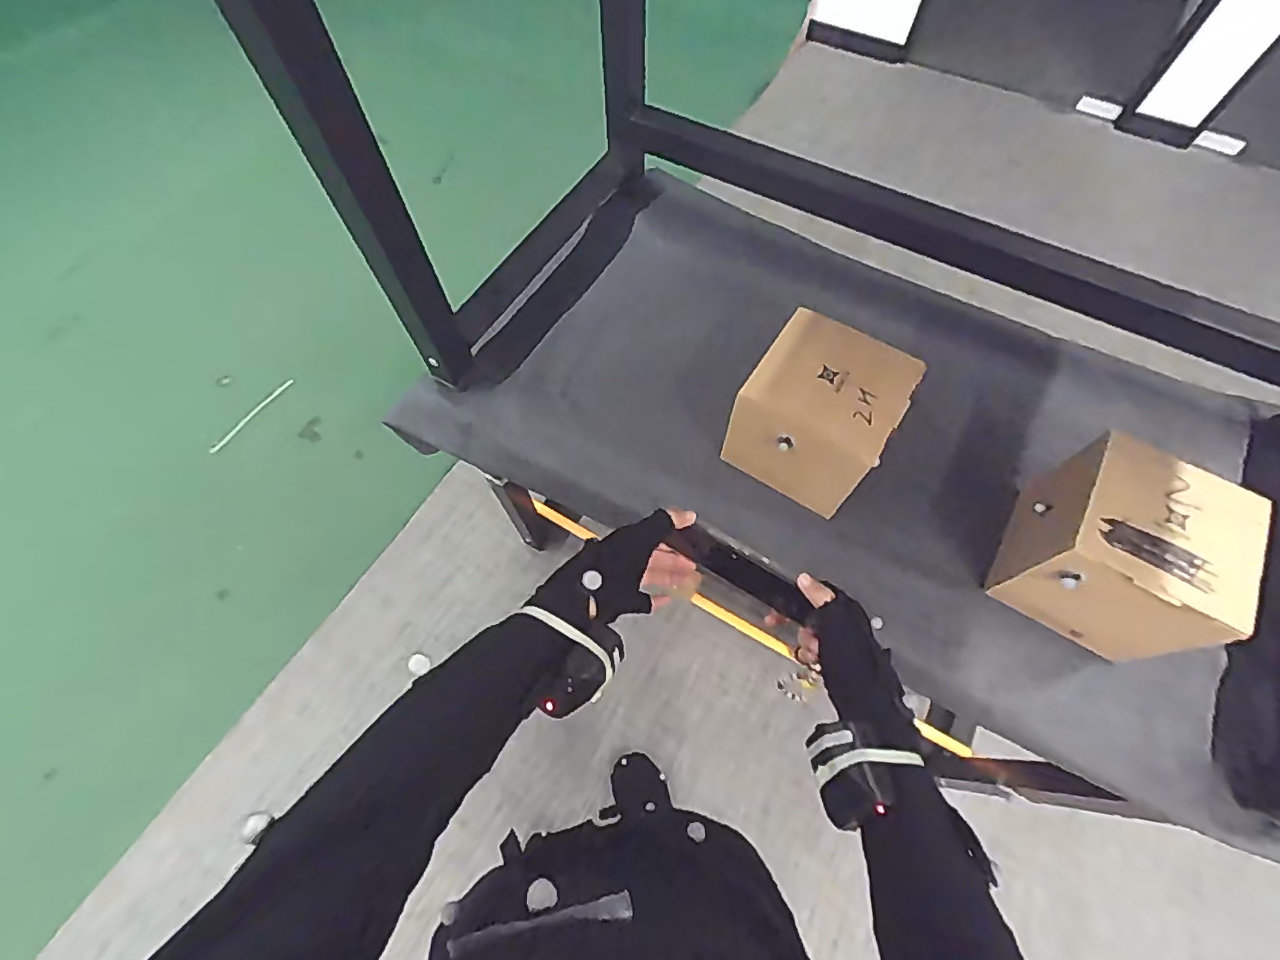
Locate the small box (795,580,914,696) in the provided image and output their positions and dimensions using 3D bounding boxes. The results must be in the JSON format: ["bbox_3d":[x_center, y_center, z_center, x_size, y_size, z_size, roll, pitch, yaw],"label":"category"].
[{"bbox_3d":[0.460,0.353,1.189,0.168,0.176,0.179,31,69,14],"label":"small box"}]

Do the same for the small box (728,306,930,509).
[{"bbox_3d":[0.233,-0.087,0.712,0.179,0.176,0.168,31,68,15],"label":"small box"}]
